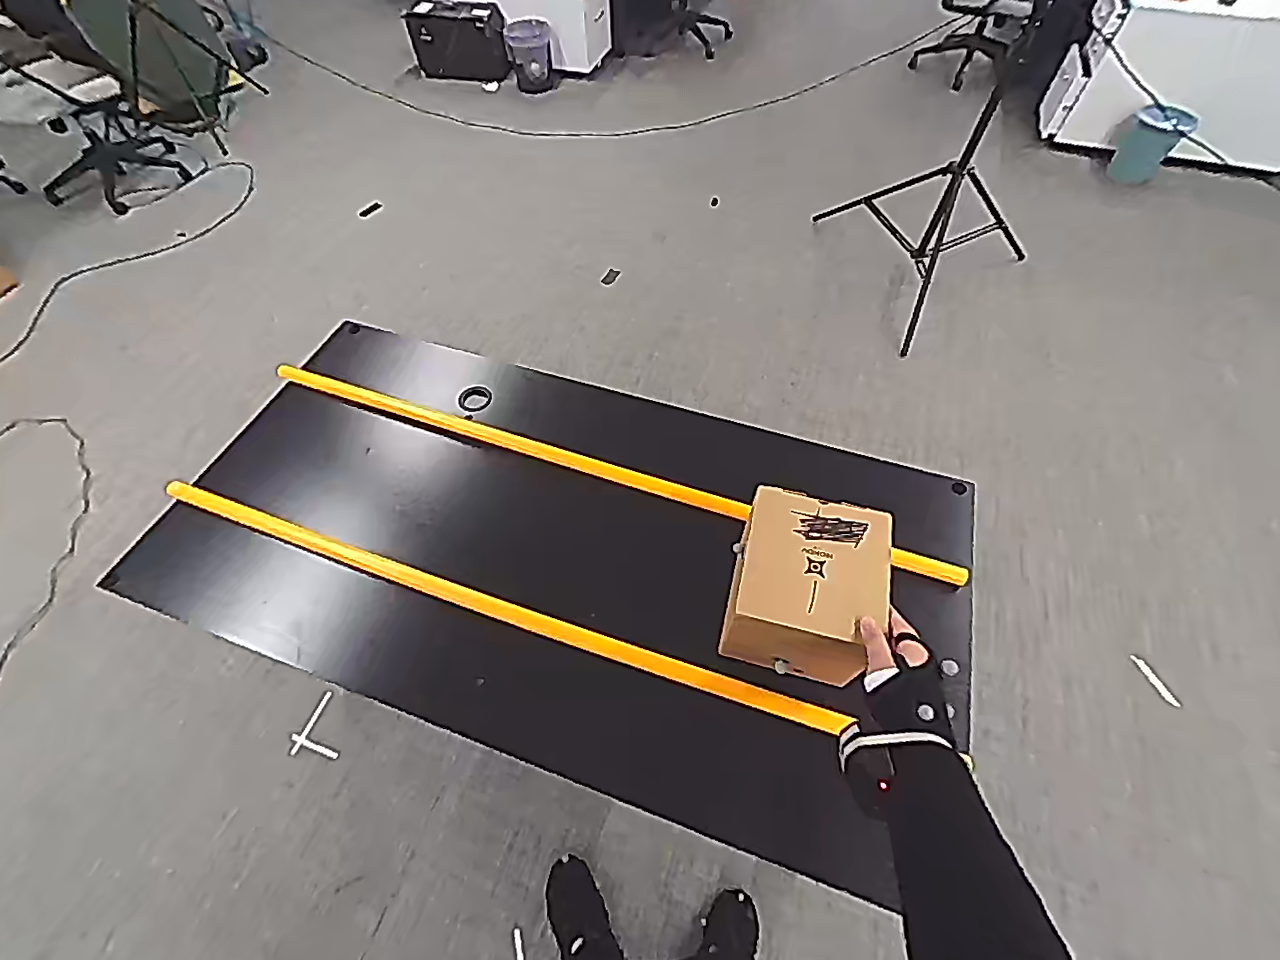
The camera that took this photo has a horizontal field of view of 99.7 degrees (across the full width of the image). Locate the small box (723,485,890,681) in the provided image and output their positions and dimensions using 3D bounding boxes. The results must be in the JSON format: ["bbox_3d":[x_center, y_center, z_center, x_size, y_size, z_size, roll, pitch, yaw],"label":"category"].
[{"bbox_3d":[0.208,0.137,0.702,0.168,0.176,0.179,12,58,9],"label":"small box"}]
